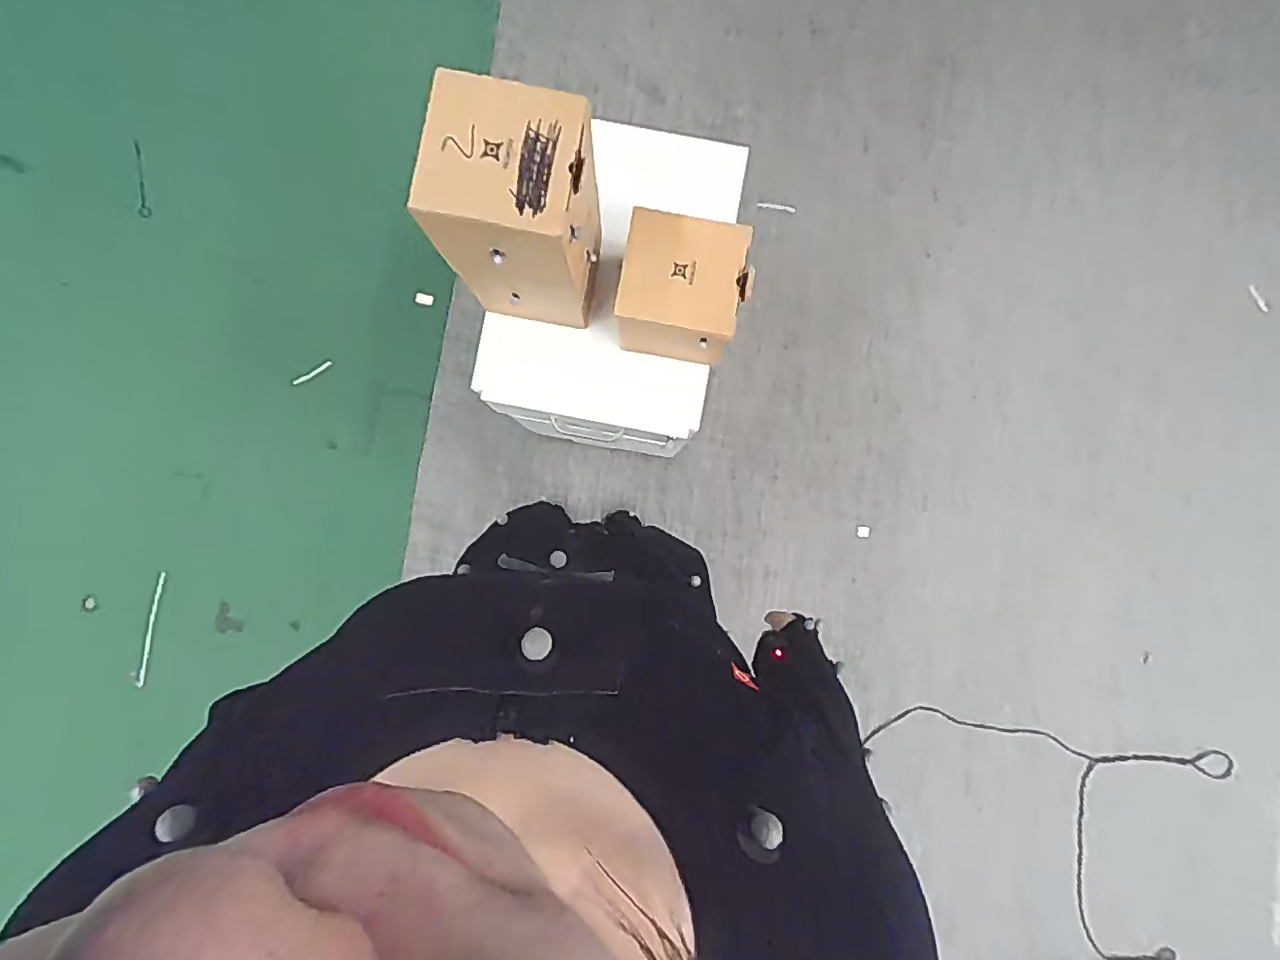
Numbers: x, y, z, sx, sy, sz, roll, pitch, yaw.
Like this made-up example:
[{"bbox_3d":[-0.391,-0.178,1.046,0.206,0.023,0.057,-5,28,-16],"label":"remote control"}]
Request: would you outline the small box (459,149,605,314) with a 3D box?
[{"bbox_3d":[-0.155,-0.371,0.838,0.179,0.176,0.168,10,89,0],"label":"small box"}]
